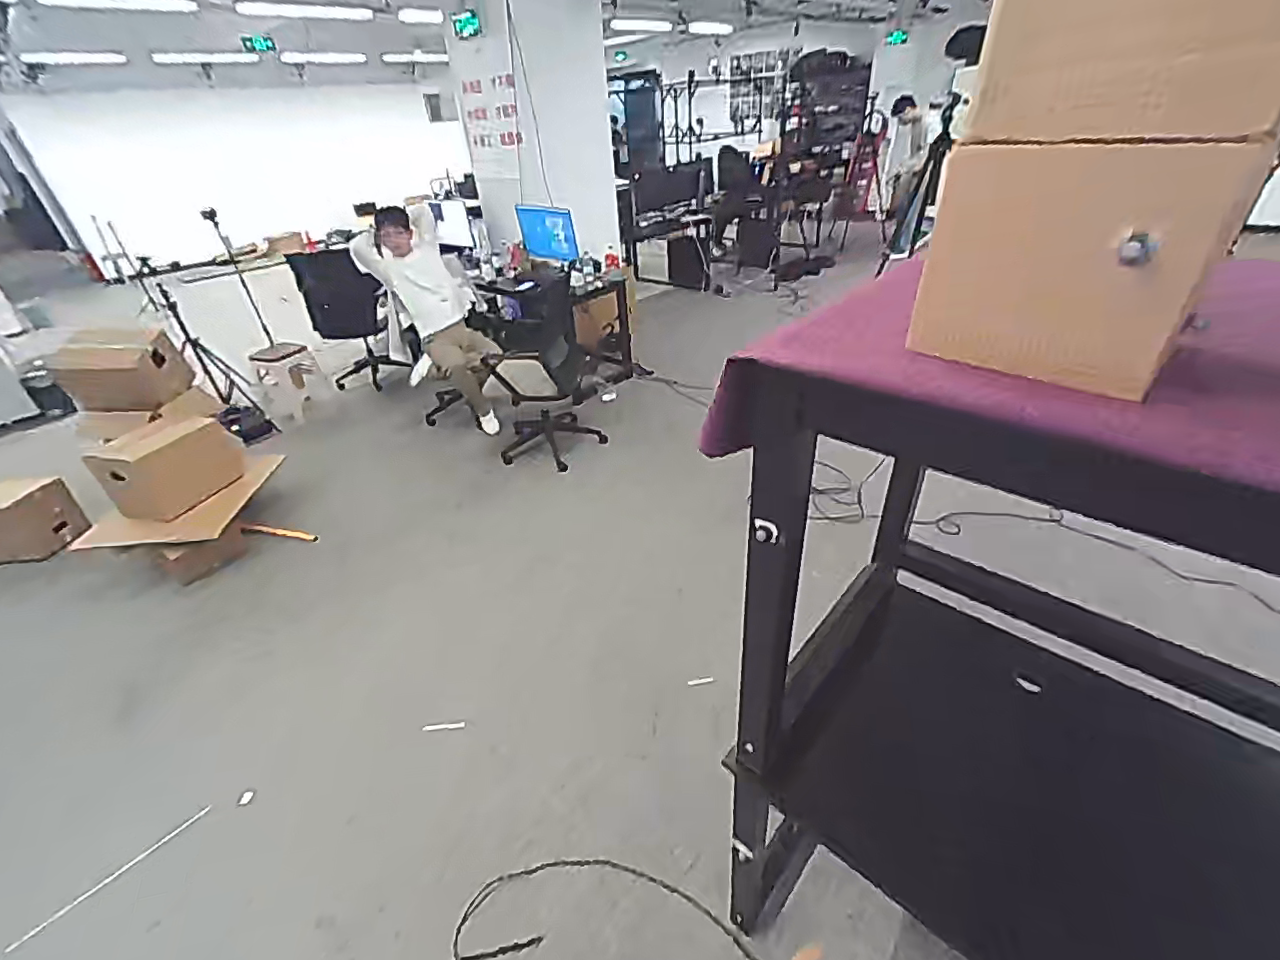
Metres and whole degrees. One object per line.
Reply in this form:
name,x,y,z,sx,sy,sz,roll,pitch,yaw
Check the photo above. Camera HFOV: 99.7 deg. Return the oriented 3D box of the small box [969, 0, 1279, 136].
small box,0.354,-0.329,0.356,0.168,0.176,0.179,-29,41,-33
